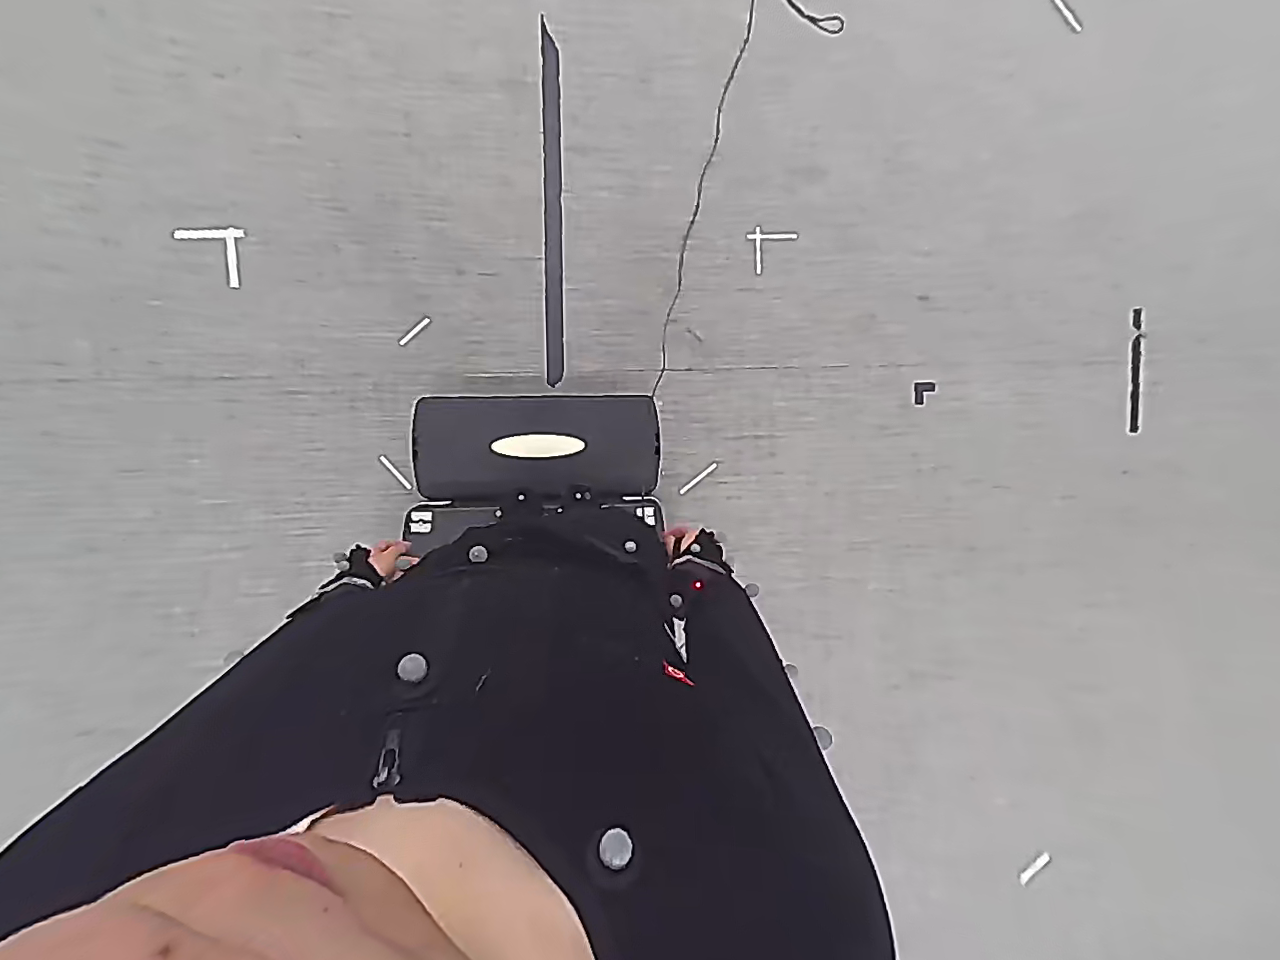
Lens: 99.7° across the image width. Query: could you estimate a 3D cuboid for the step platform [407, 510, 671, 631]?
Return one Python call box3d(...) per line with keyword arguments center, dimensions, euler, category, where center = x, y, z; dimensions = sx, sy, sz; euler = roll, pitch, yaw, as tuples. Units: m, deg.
box3d(center=(-0.258, 0.241, 1.458), dimensions=(0.684, 0.204, 0.286), euler=(3, 89, -4), category="step platform")
